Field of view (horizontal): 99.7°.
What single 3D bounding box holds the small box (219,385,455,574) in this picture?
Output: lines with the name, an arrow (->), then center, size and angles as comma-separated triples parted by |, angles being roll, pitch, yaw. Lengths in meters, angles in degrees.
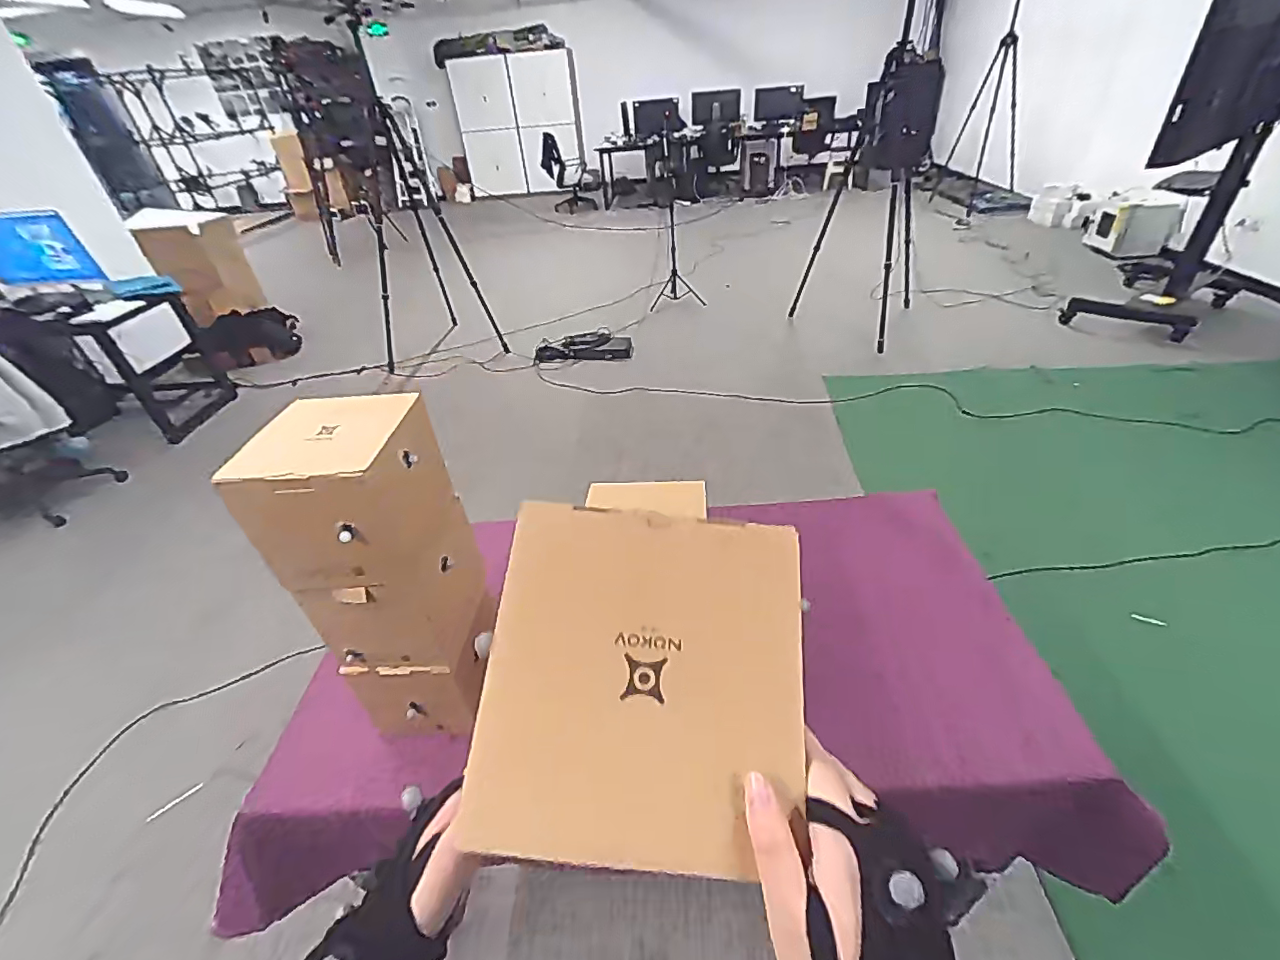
small box -> -0.346, 0.001, 0.665 | 0.168, 0.176, 0.179 | -1, 37, 3

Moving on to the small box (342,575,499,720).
small box -> -0.328, 0.262, 0.862 | 0.168, 0.176, 0.179 | -1, 38, 4

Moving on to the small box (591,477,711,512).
small box -> 0.014, 0.113, 0.746 | 0.168, 0.176, 0.179 | 0, 38, 7

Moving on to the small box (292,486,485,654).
small box -> -0.335, 0.128, 0.767 | 0.168, 0.176, 0.179 | -1, 37, 5

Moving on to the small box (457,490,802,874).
small box -> 0.001, 0.126, 0.358 | 0.168, 0.176, 0.179 | 7, 66, 1
